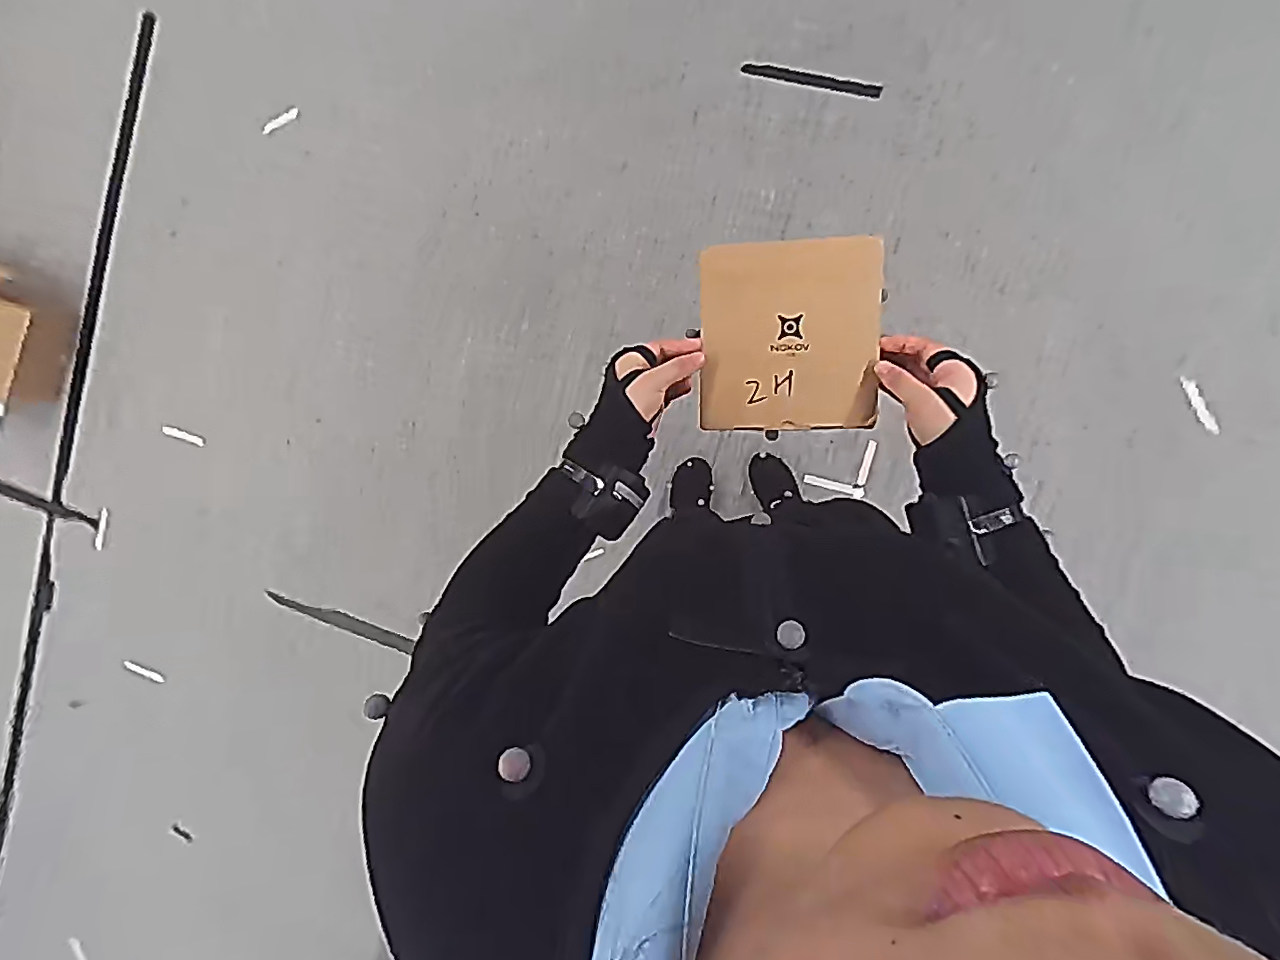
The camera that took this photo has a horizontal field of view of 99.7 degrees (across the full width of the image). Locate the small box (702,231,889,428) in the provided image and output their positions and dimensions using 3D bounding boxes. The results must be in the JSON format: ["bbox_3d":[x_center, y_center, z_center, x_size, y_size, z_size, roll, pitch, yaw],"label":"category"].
[{"bbox_3d":[0.151,-0.146,0.579,0.168,0.176,0.179,-1,98,6],"label":"small box"}]
